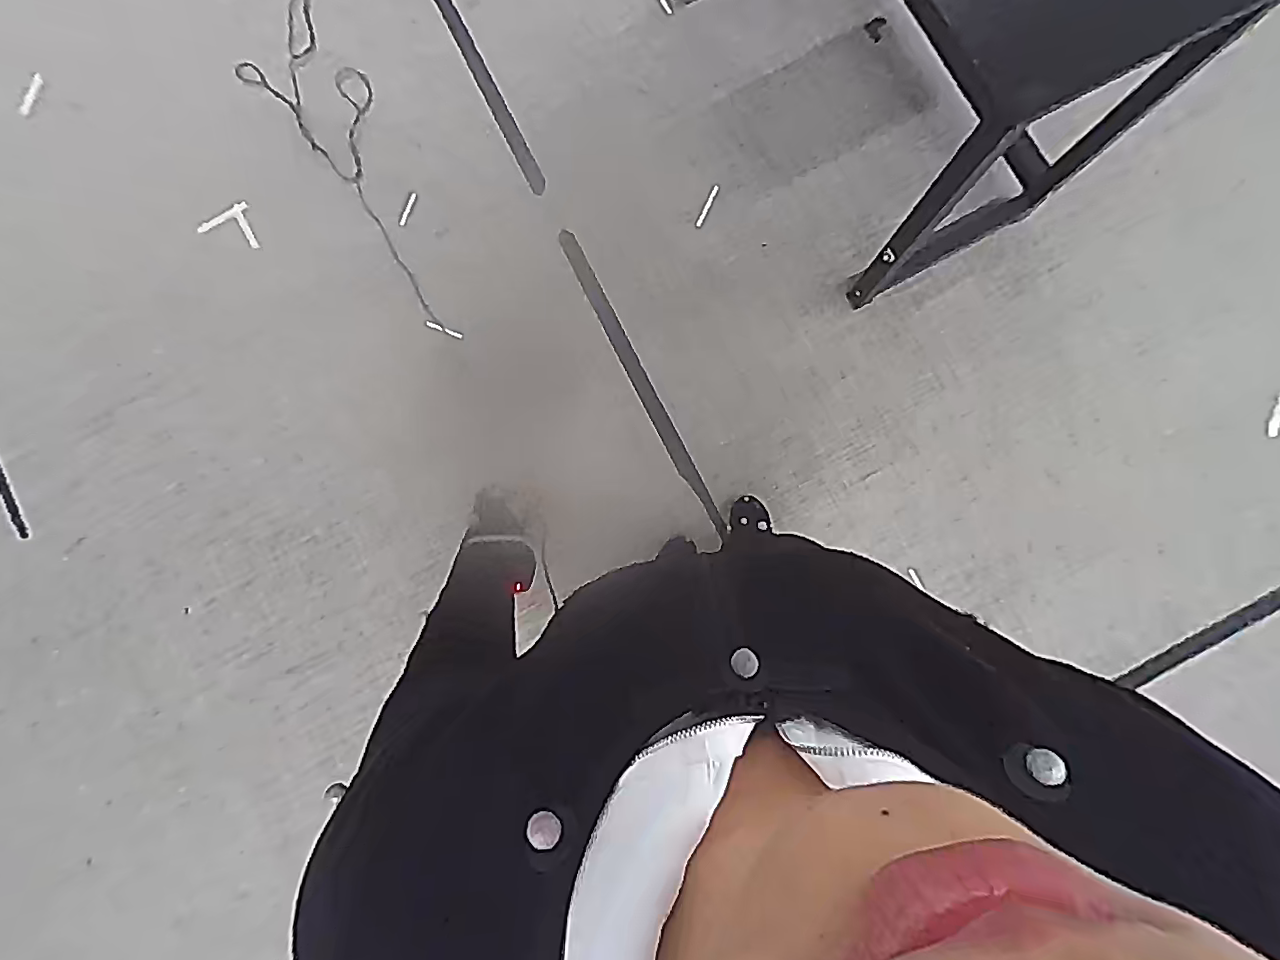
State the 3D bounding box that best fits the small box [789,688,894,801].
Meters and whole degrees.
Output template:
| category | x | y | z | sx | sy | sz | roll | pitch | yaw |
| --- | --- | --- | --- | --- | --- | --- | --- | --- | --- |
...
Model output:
| category | x | y | z | sx | sy | sz | roll | pitch | yaw |
| --- | --- | --- | --- | --- | --- | --- | --- | --- | --- |
| small box | 0.492 | 0.655 | 1.359 | 0.179 | 0.176 | 0.168 | -28 | 84 | -1 |
